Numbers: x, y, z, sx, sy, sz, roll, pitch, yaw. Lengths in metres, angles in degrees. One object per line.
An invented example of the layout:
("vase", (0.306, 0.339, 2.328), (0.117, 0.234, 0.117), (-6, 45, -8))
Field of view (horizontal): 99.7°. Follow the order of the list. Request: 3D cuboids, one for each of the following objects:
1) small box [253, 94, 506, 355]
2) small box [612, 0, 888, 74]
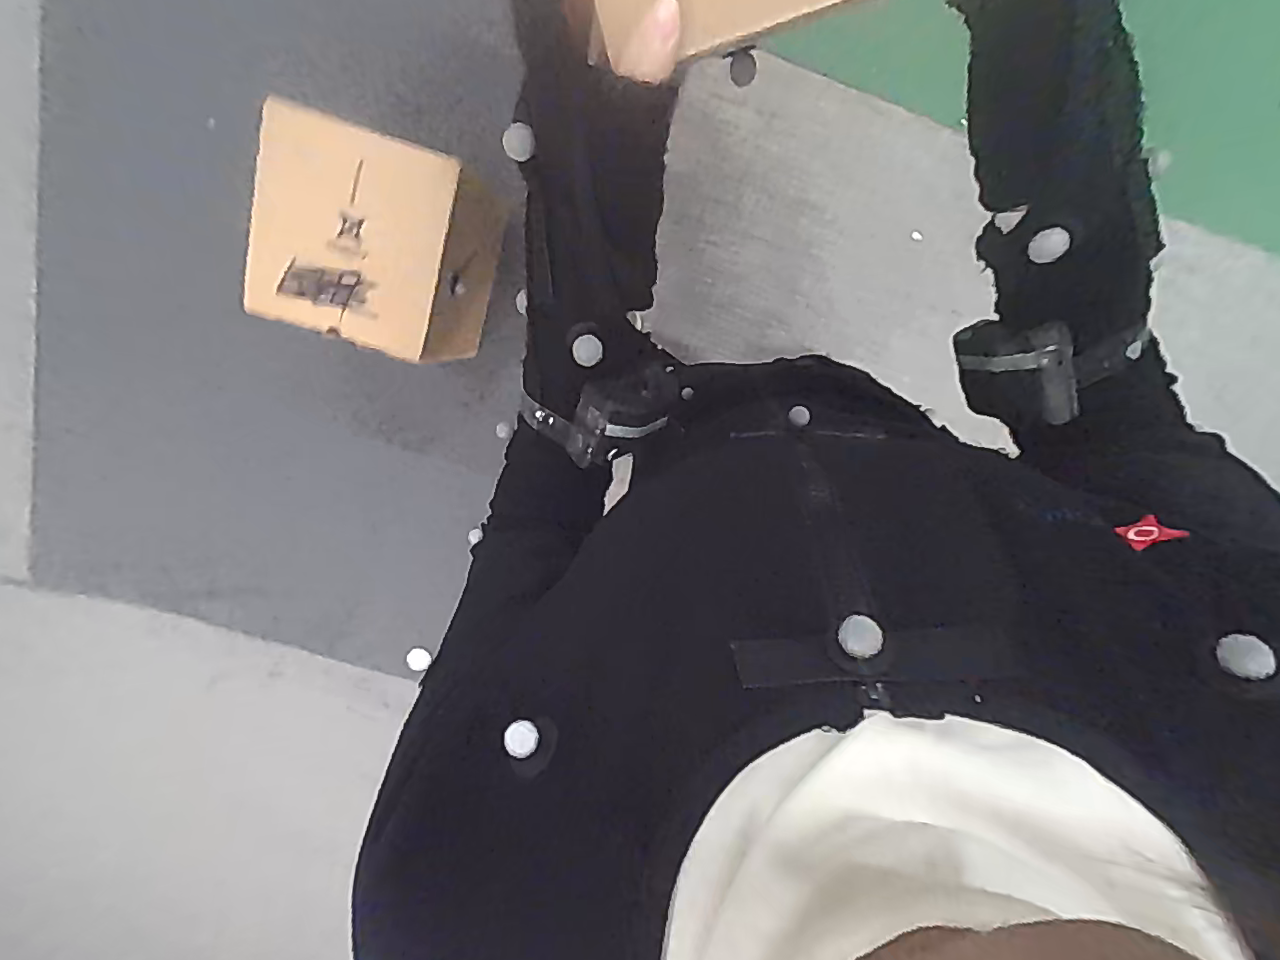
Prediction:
("small box", (-0.249, -0.239, 0.552), (0.168, 0.176, 0.179), (17, 105, -4))
("small box", (0.053, -0.299, 0.226), (0.168, 0.176, 0.179), (-12, 125, 9))
